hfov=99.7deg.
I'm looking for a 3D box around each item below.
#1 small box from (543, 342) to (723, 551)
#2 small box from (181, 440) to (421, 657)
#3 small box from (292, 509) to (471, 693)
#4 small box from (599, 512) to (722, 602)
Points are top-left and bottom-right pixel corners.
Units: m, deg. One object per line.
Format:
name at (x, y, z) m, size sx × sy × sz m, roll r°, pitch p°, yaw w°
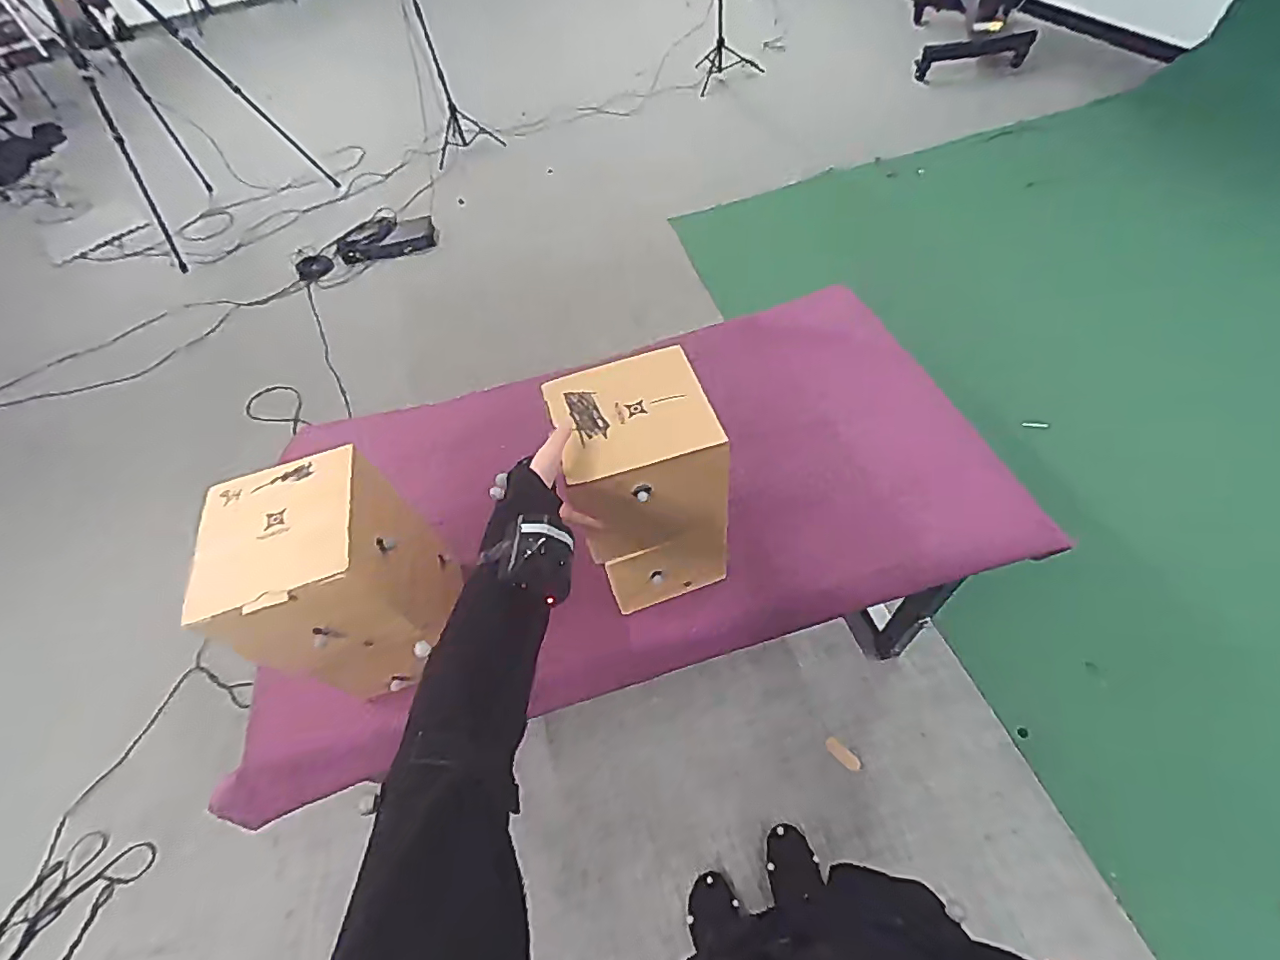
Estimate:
small box at (-0.004, -0.035, 0.663) m, size 0.179 × 0.176 × 0.168 m, roll -16°, pitch 53°, yaw -4°
small box at (-0.370, 0.089, 0.627) m, size 0.168 × 0.176 × 0.179 m, roll -17°, pitch 55°, yaw -4°
small box at (-0.356, 0.175, 0.766) m, size 0.168 × 0.176 × 0.179 m, roll -19°, pitch 55°, yaw -5°
small box at (0.016, 0.061, 0.796) m, size 0.168 × 0.176 × 0.179 m, roll -19°, pitch 53°, yaw -5°
